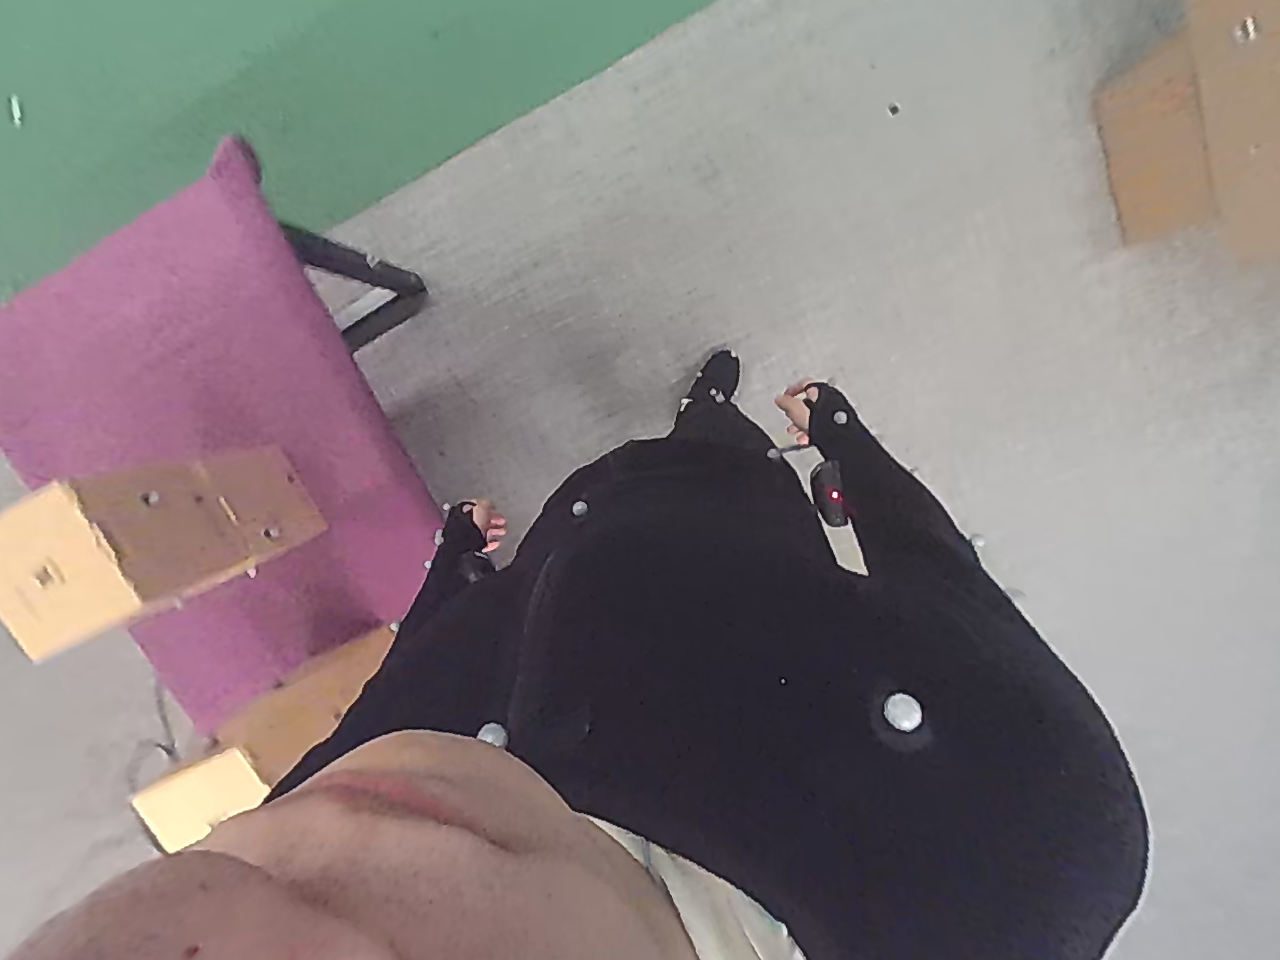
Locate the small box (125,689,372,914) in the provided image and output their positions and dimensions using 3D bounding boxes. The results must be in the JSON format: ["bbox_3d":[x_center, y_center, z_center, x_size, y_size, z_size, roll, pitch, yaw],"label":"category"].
[{"bbox_3d":[-0.514,0.424,0.737,0.179,0.176,0.168,-27,97,7],"label":"small box"}]

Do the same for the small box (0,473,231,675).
[{"bbox_3d":[-0.674,0.106,0.687,0.179,0.176,0.168,-26,98,8],"label":"small box"}]

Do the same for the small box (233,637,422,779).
[{"bbox_3d":[-0.503,0.394,0.897,0.179,0.176,0.168,-26,98,7],"label":"small box"}]
